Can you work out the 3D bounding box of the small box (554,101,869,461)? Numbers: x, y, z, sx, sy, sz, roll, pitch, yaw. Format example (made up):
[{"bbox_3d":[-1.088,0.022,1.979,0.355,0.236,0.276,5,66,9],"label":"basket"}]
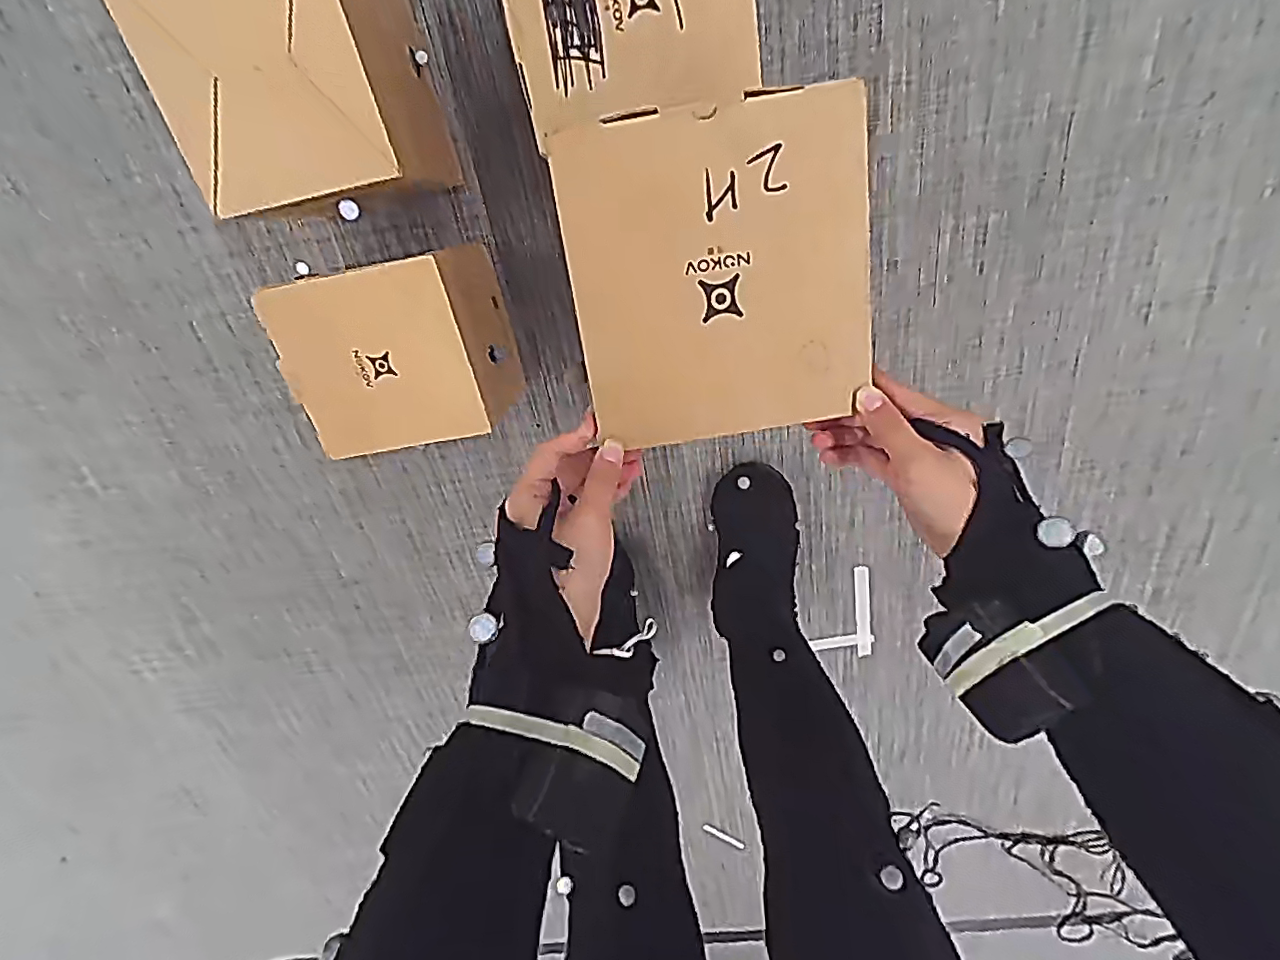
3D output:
[{"bbox_3d":[0.045,-0.128,0.380,0.168,0.176,0.179,-8,108,1],"label":"small box"}]

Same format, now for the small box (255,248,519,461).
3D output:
[{"bbox_3d":[-0.238,-0.139,0.570,0.179,0.176,0.168,-9,116,6],"label":"small box"}]
